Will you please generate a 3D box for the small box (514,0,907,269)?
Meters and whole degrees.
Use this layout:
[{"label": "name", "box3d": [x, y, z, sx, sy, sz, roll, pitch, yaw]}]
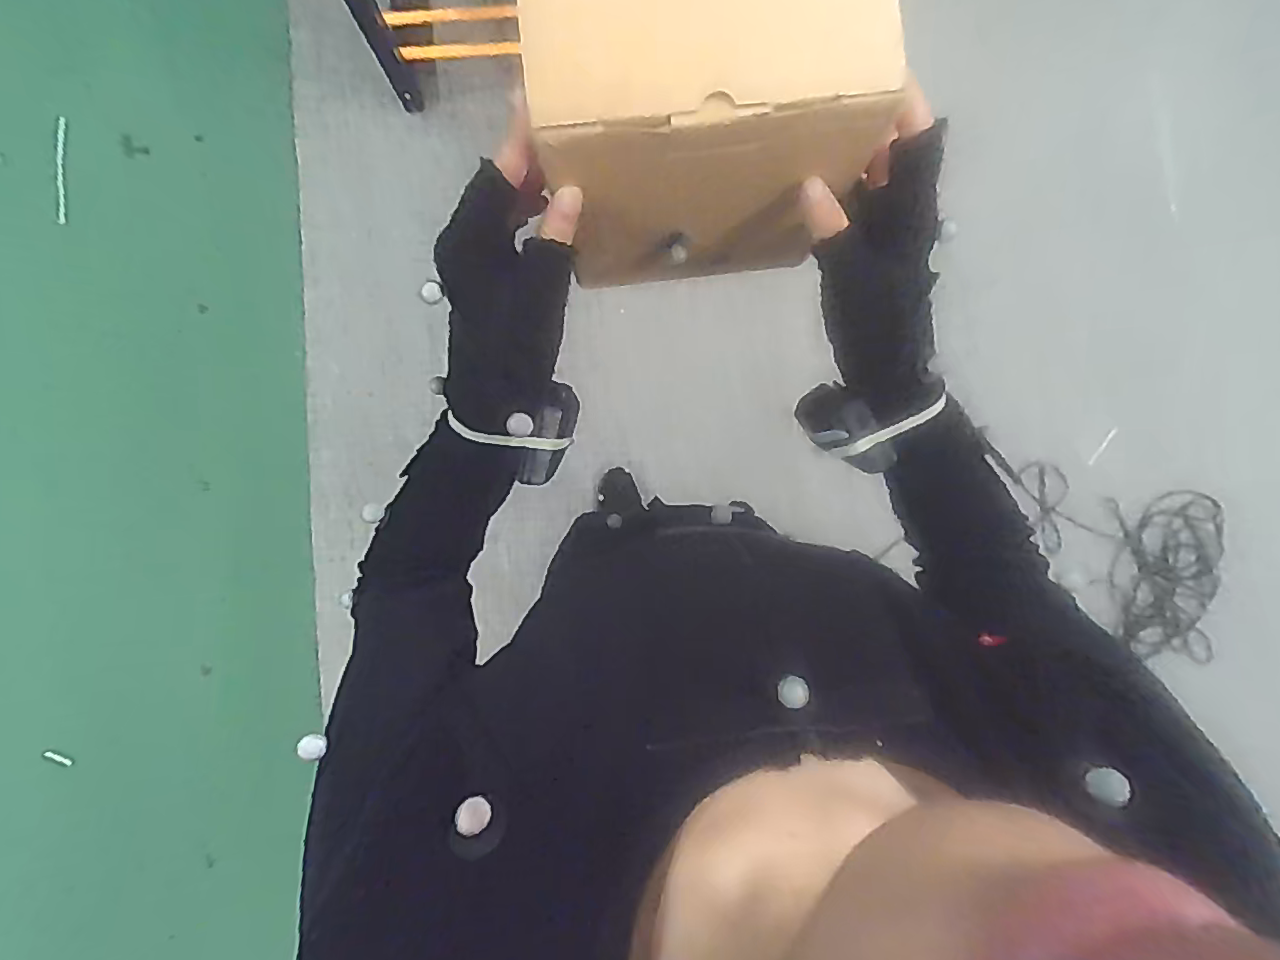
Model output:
[{"label": "small box", "box3d": [0.024, -0.247, 0.311, 0.168, 0.176, 0.179, -6, 88, 1]}]
